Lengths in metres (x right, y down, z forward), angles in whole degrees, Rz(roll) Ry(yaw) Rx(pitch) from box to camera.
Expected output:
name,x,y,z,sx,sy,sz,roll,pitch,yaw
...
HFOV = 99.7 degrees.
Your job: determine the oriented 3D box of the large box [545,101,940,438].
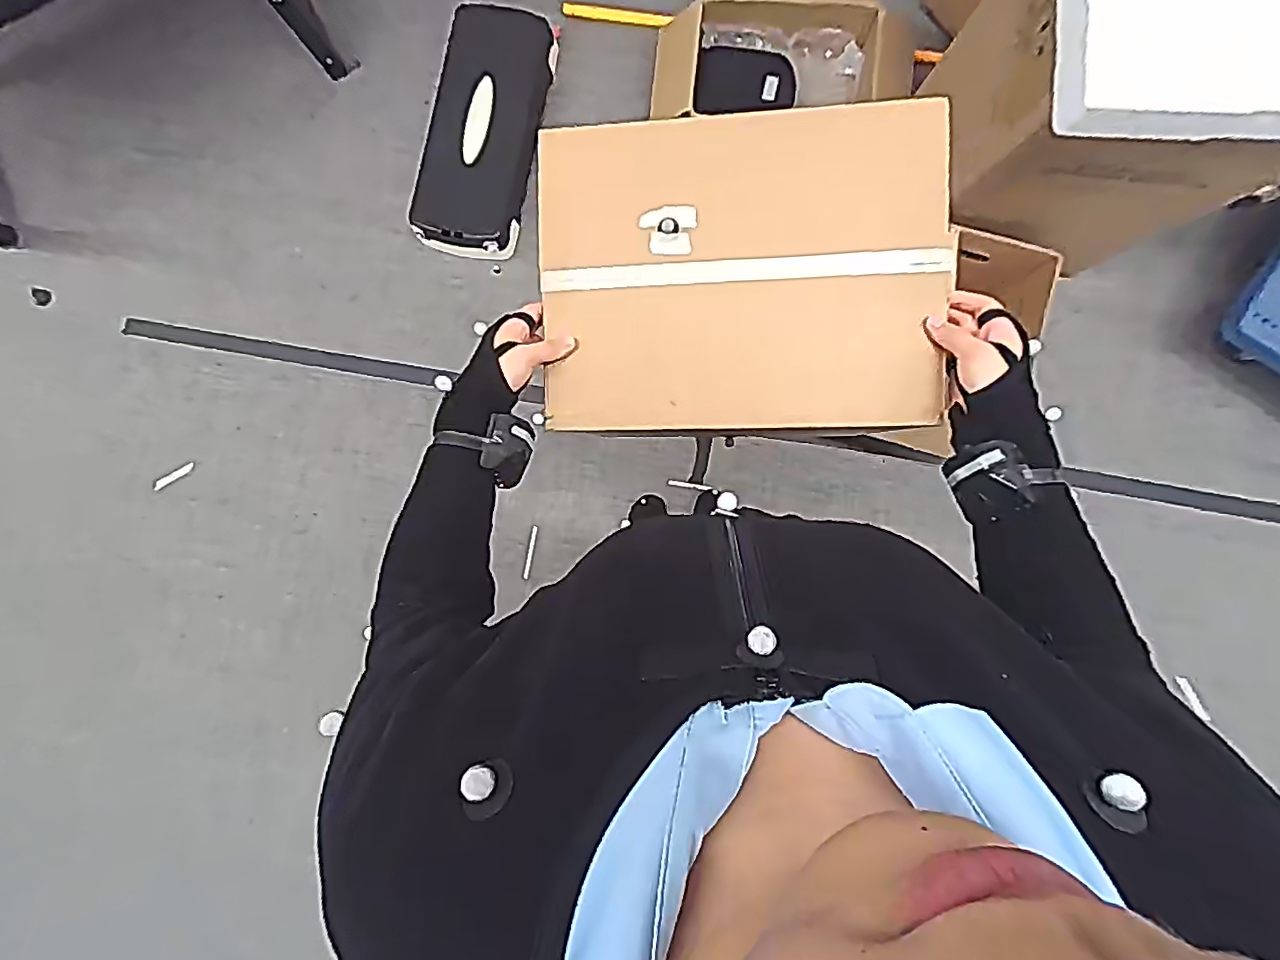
name,x,y,z,sx,sy,sz,roll,pitch,yaw
large box,0.121,-0.217,0.704,0.408,0.320,0.320,-1,91,9
